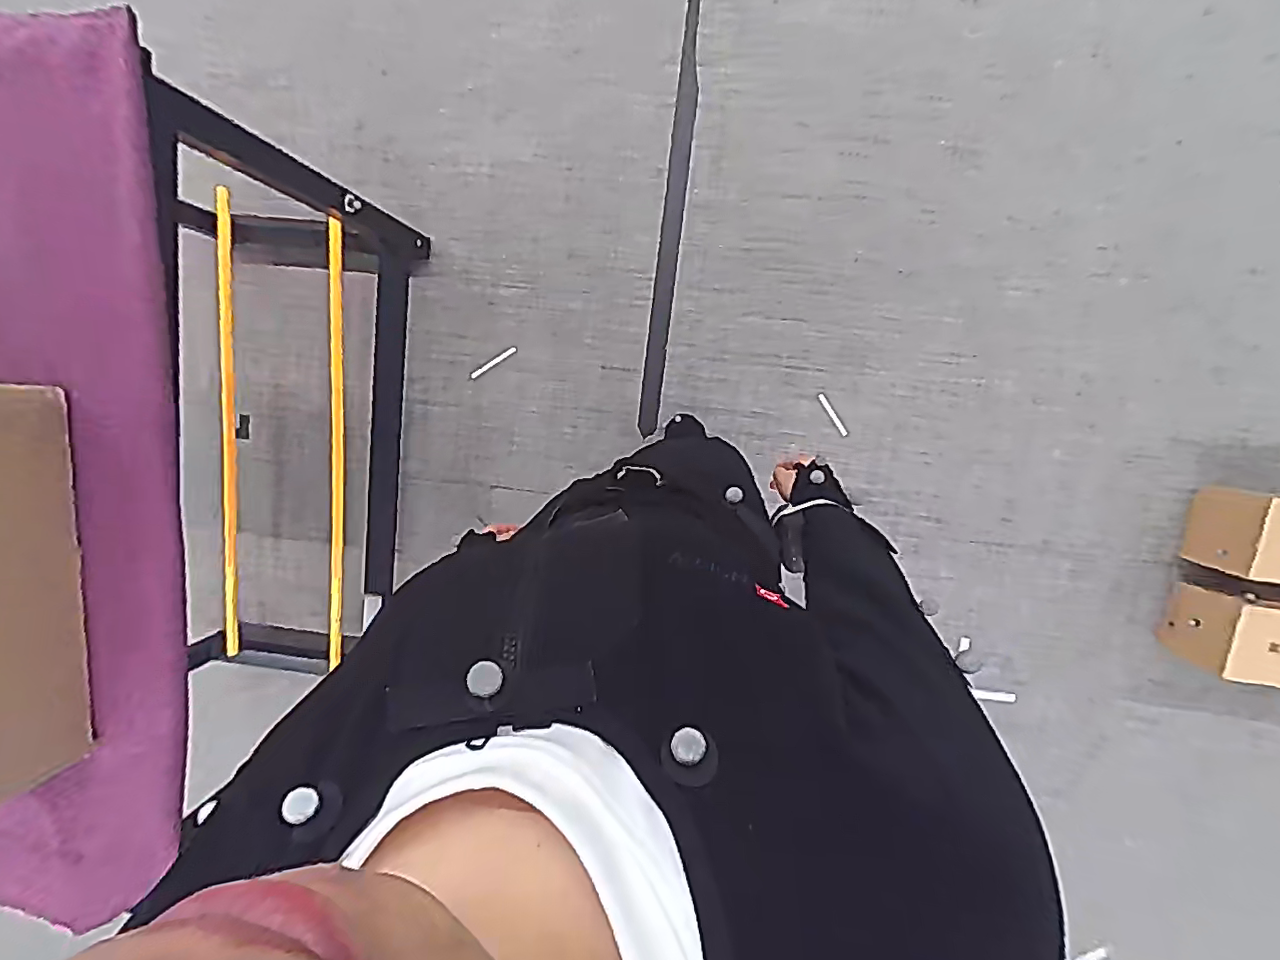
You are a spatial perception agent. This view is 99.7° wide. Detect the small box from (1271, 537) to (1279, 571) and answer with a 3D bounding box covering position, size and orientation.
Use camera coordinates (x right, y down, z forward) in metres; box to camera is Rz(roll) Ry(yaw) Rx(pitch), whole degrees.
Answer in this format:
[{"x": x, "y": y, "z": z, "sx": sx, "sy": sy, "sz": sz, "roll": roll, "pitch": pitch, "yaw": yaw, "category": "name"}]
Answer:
[{"x": 1.542, "y": 0.145, "z": 1.158, "sx": 0.179, "sy": 0.176, "sz": 0.168, "roll": 5, "pitch": 98, "yaw": 4, "category": "small box"}]
